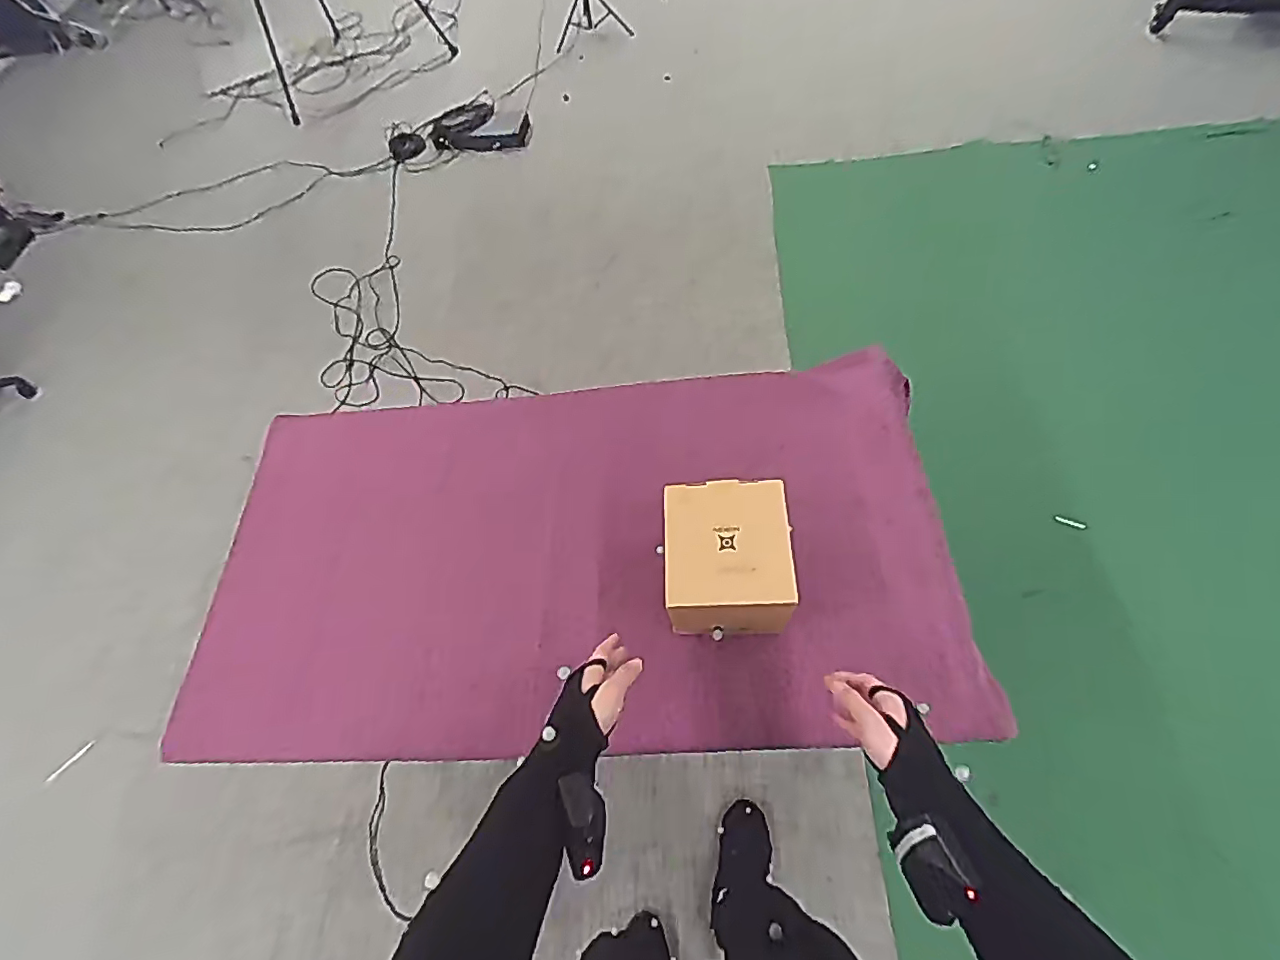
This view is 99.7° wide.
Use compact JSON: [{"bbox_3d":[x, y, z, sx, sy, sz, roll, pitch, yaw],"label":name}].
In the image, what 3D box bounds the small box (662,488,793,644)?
[{"bbox_3d":[0.120,0.128,0.780,0.168,0.176,0.179,-3,61,8],"label":"small box"}]
